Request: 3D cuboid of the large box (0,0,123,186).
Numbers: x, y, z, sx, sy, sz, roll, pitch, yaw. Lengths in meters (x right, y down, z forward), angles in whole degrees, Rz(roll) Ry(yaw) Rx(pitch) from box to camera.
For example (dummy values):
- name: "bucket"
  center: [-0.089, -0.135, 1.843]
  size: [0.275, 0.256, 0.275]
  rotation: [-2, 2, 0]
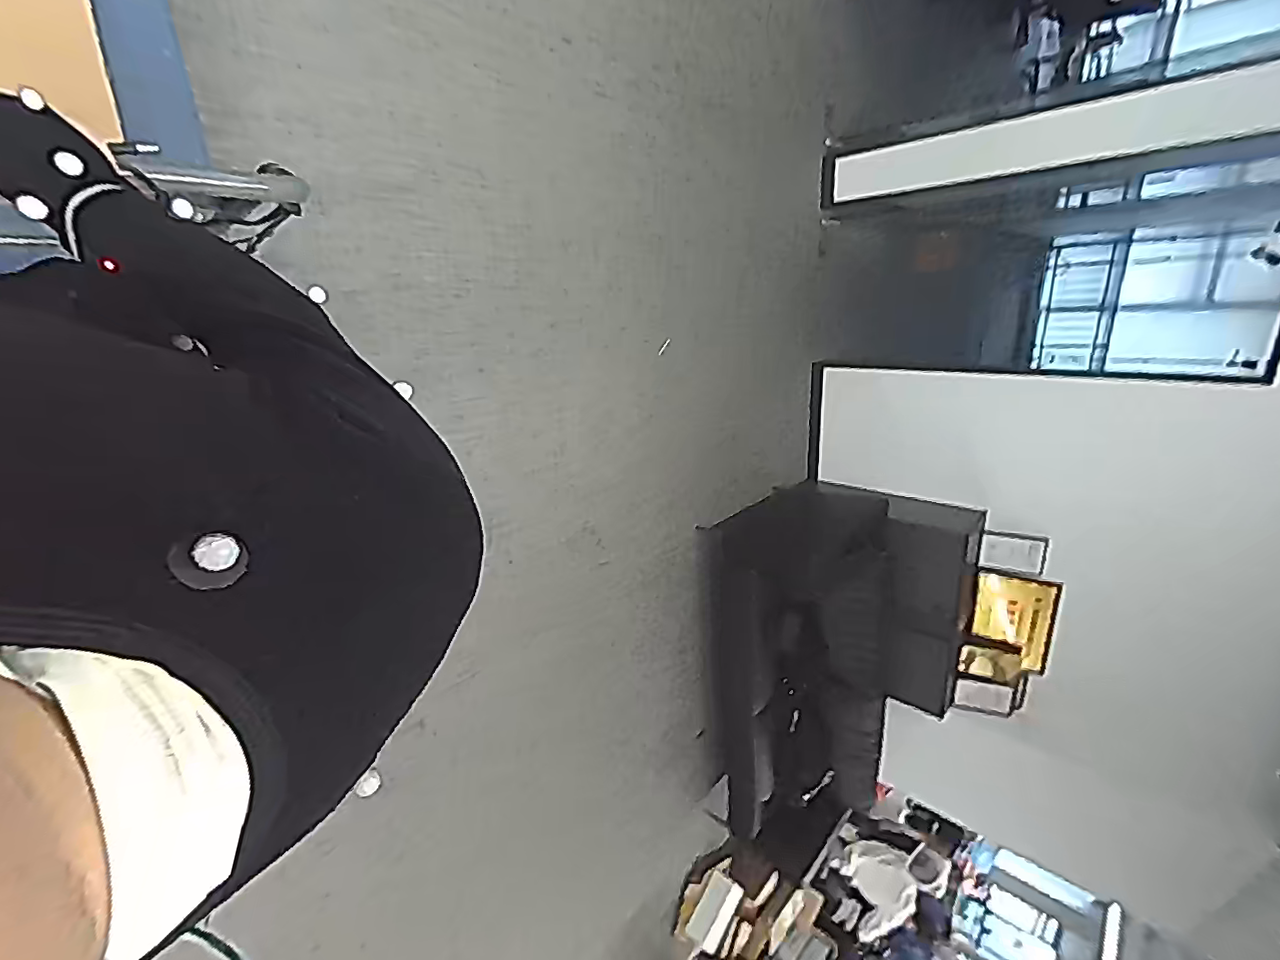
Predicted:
- name: "large box"
  center: [-0.986, -0.666, 0.740]
  size: [0.320, 0.320, 0.408]
  rotation: [-19, 114, -44]
